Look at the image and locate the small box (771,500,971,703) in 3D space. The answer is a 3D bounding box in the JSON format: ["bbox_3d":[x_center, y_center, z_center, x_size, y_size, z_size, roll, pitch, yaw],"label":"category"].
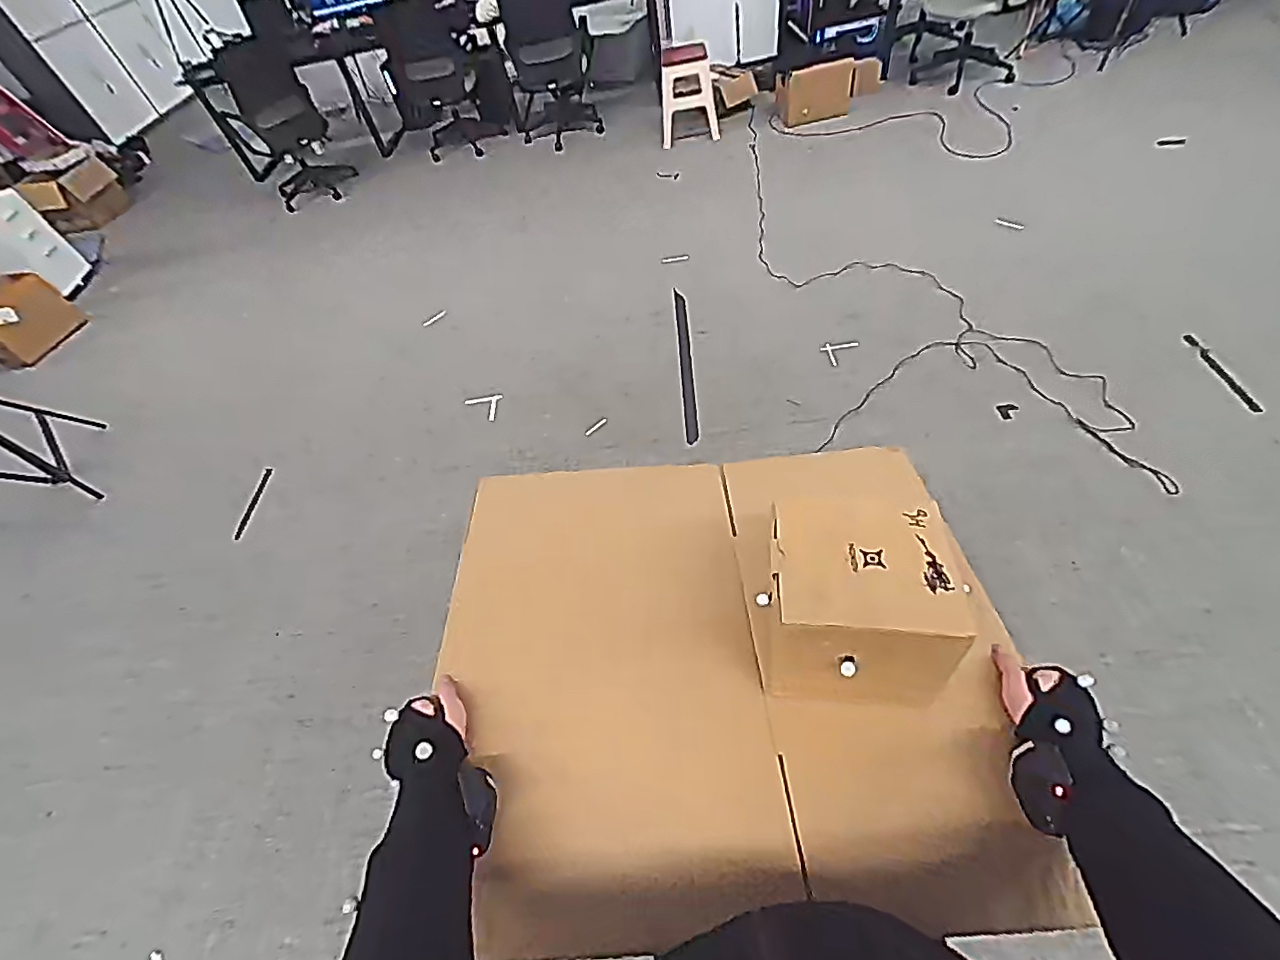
[{"bbox_3d":[0.241,0.139,0.619,0.179,0.176,0.168,0,47,11],"label":"small box"}]
